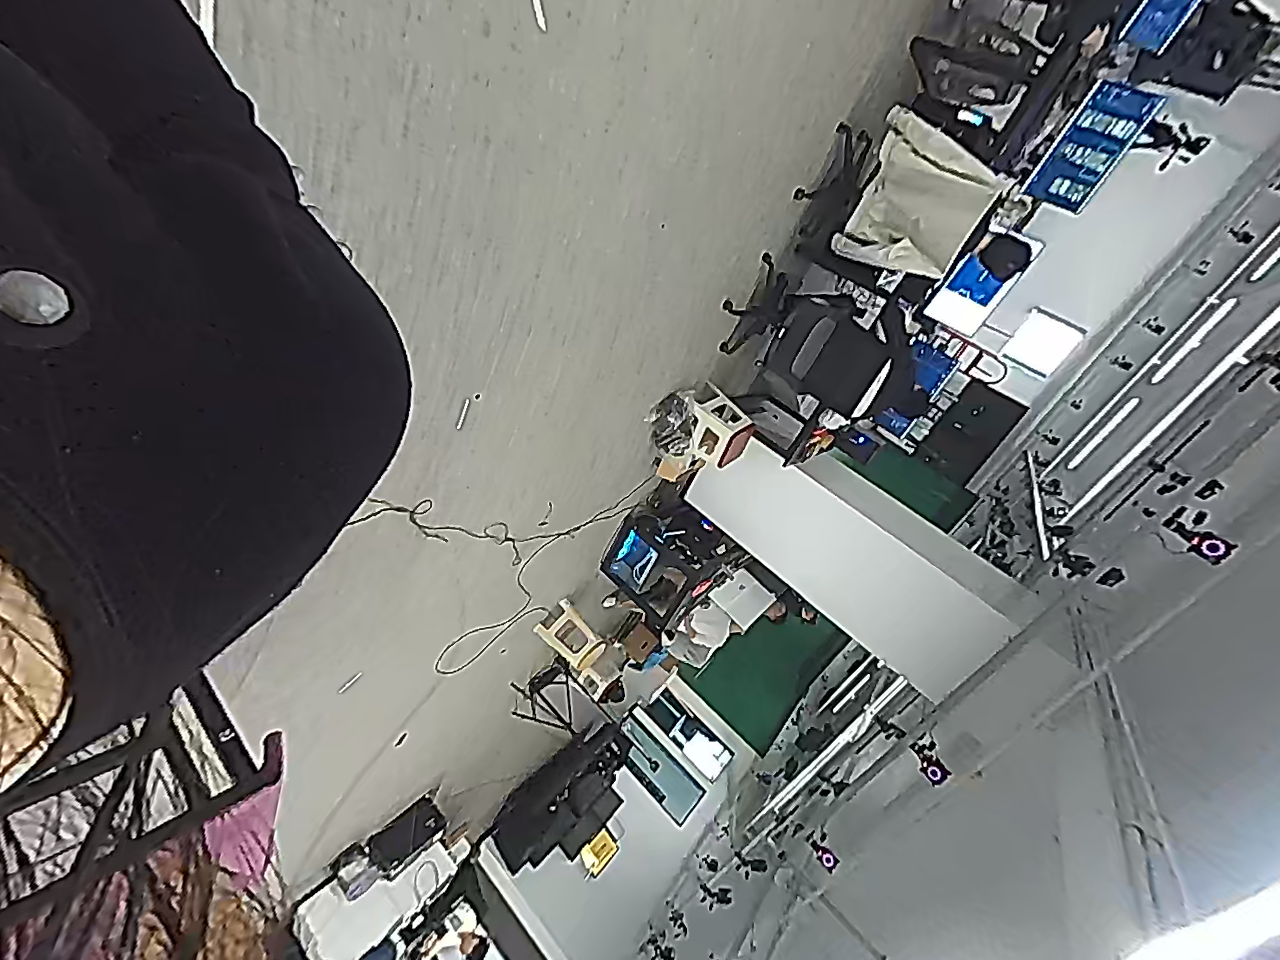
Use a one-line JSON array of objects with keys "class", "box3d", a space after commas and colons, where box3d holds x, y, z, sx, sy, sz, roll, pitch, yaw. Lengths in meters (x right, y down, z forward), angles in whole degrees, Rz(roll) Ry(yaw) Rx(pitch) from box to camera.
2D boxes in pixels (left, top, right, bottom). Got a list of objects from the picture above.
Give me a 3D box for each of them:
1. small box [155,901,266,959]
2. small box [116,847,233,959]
[{"class": "small box", "box3d": [-0.977, 1.114, 1.215, 0.179, 0.176, 0.168, -22, 147, -52]}, {"class": "small box", "box3d": [-1.094, 1.017, 1.272, 0.168, 0.176, 0.179, -20, 144, -53]}]
